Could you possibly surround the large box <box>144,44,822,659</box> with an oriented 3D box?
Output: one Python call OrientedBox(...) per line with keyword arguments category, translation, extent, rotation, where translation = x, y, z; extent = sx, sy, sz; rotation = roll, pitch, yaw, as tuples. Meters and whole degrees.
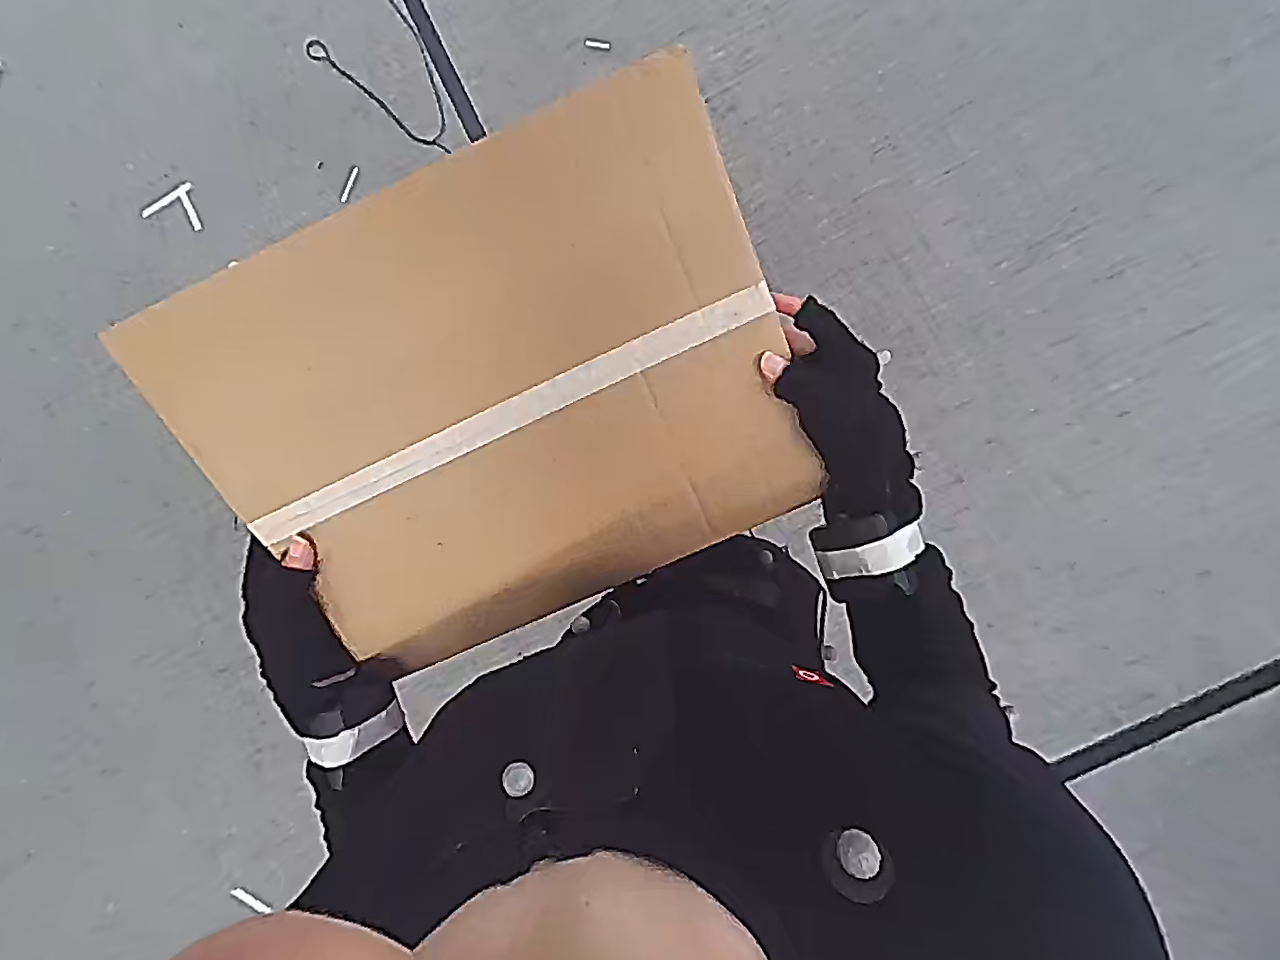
OrientedBox(category="large box", translation=(-0.106, -0.104, 0.533), extent=(0.408, 0.320, 0.320), rotation=(-24, 110, 4))
